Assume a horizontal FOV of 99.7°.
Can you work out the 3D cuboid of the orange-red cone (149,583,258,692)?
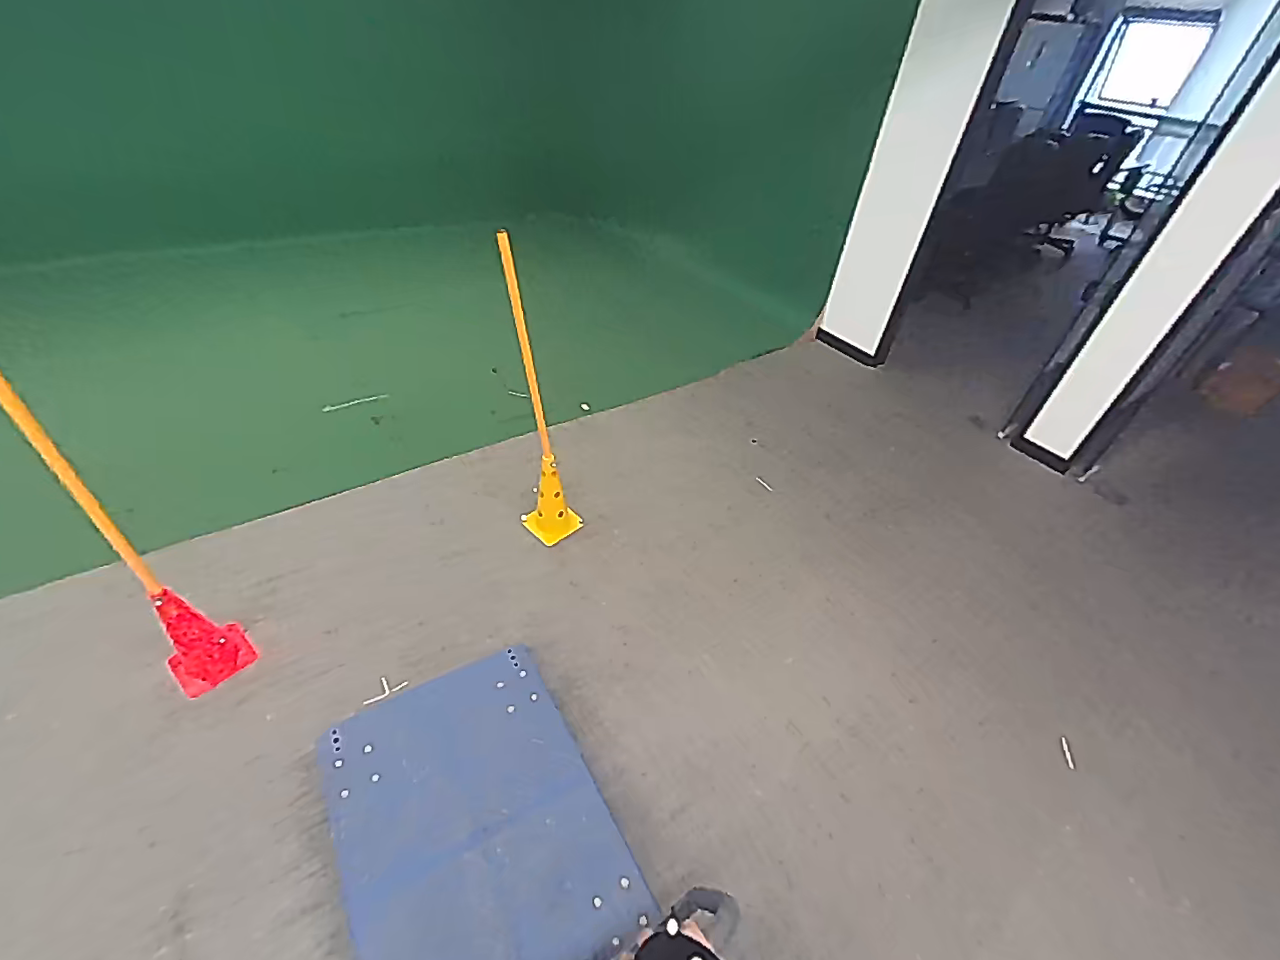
[{"bbox_3d":[-1.331,0.426,1.593,0.198,0.360,0.199,32,50,28],"label":"orange-red cone"}]
